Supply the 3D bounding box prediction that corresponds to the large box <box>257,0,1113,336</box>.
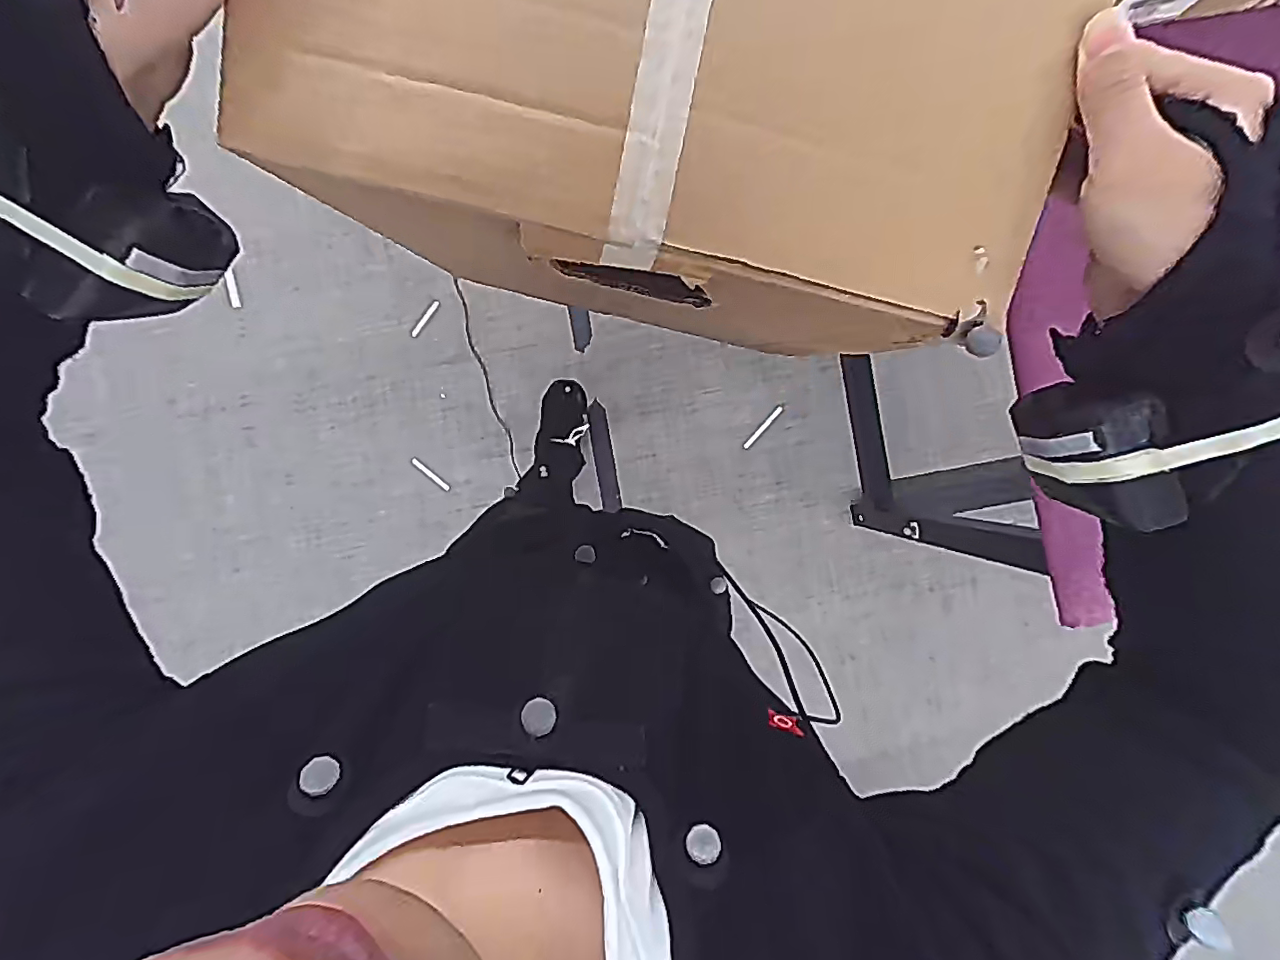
[{"bbox_3d":[0.038,-0.322,0.318,0.320,0.320,0.408,11,102,-4],"label":"large box"}]
